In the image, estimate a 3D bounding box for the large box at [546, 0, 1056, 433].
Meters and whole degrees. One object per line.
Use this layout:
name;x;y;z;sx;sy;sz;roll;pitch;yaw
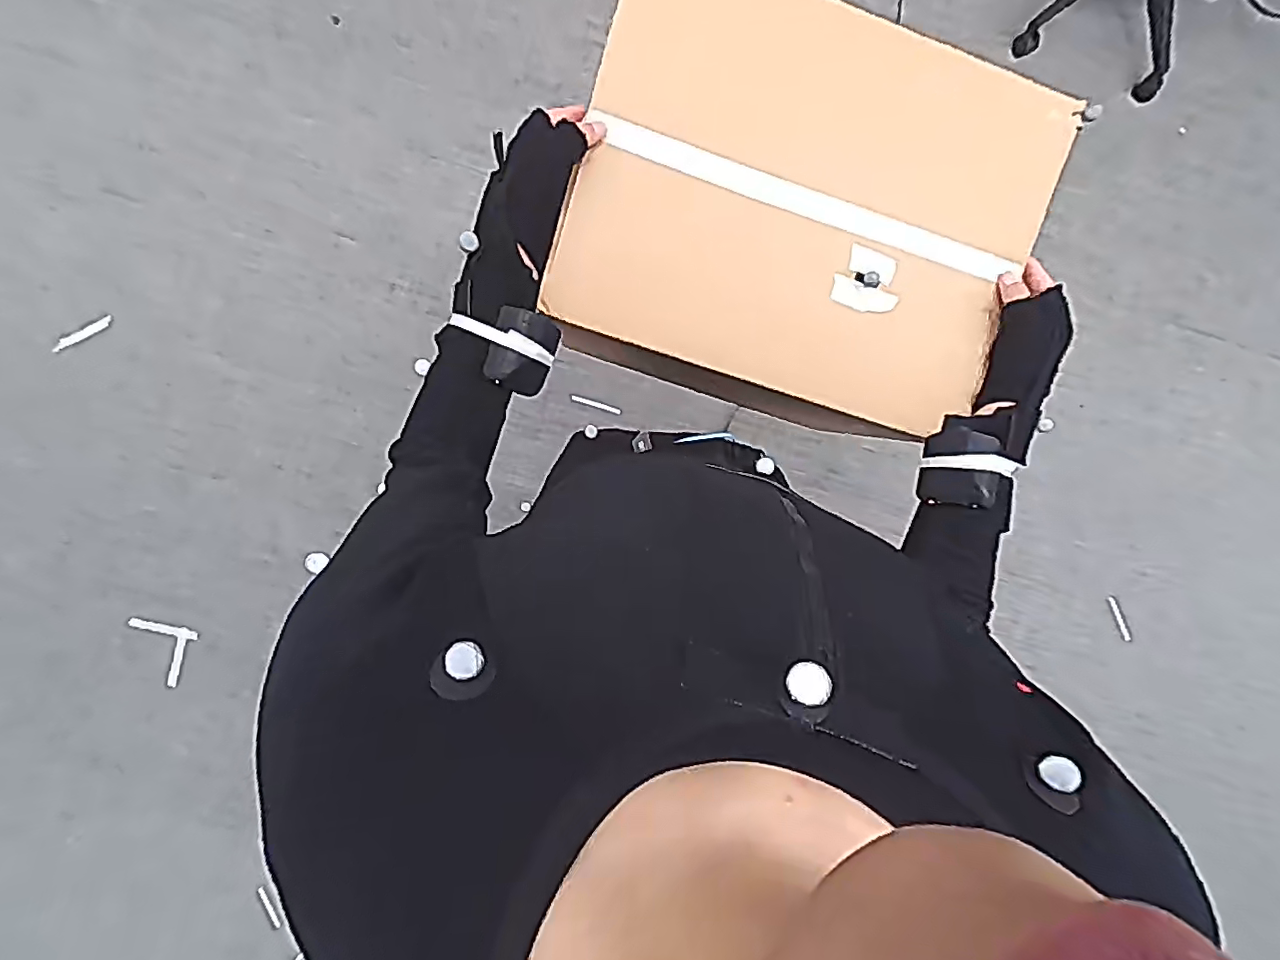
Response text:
large box;0.131;-0.262;0.625;0.408;0.320;0.320;17;97;-8
